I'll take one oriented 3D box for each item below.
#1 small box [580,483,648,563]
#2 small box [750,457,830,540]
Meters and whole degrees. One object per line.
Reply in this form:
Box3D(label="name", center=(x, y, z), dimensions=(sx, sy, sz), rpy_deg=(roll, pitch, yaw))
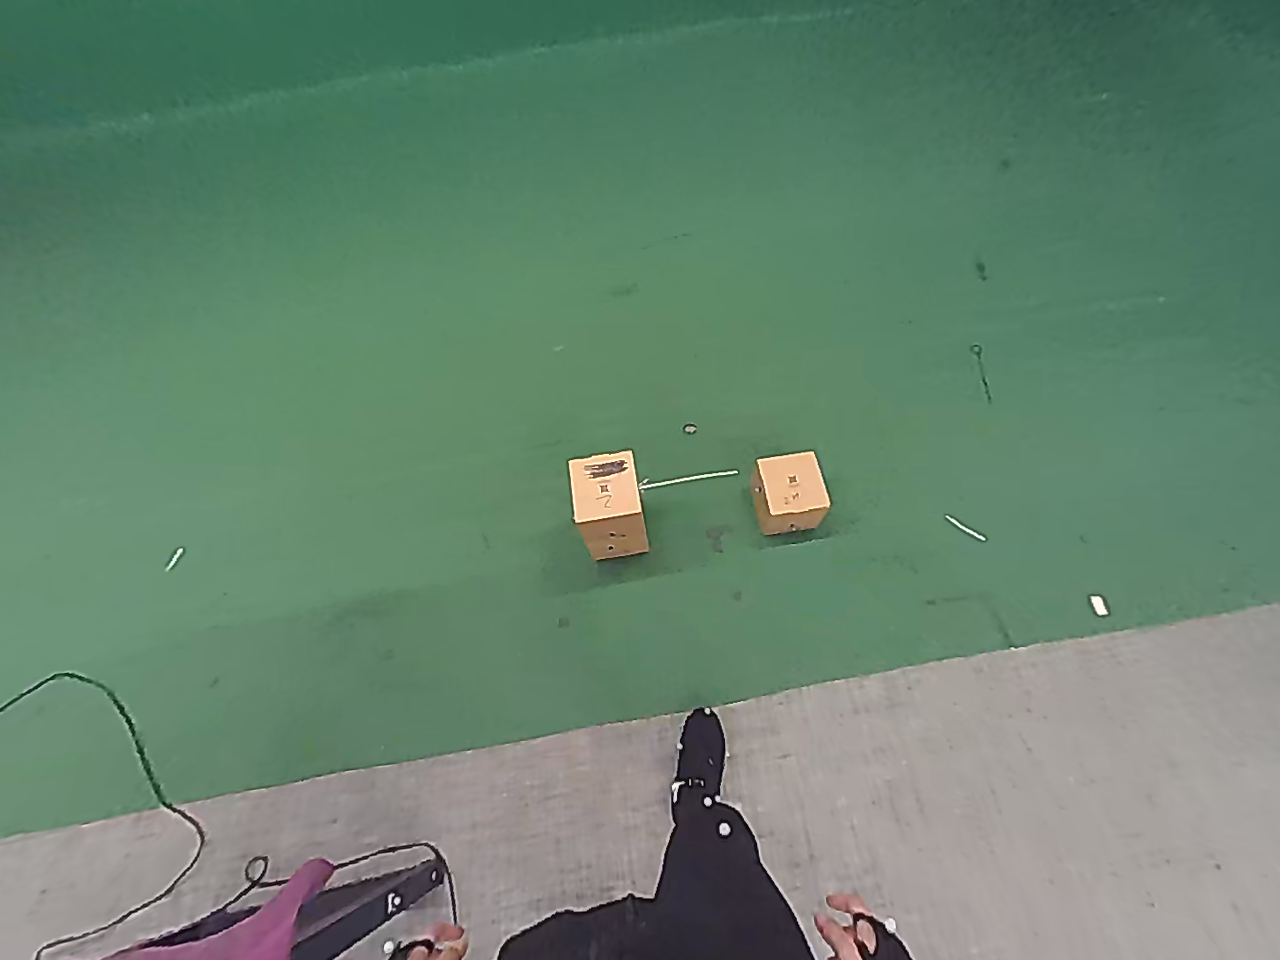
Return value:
Box3D(label="small box", center=(-0.072, 0.131, 1.558), dimensions=(0.168, 0.176, 0.179), rpy_deg=(-9, 64, -1))
Box3D(label="small box", center=(0.425, 0.057, 1.564), dimensions=(0.168, 0.176, 0.179), rpy_deg=(-8, 65, -1))
